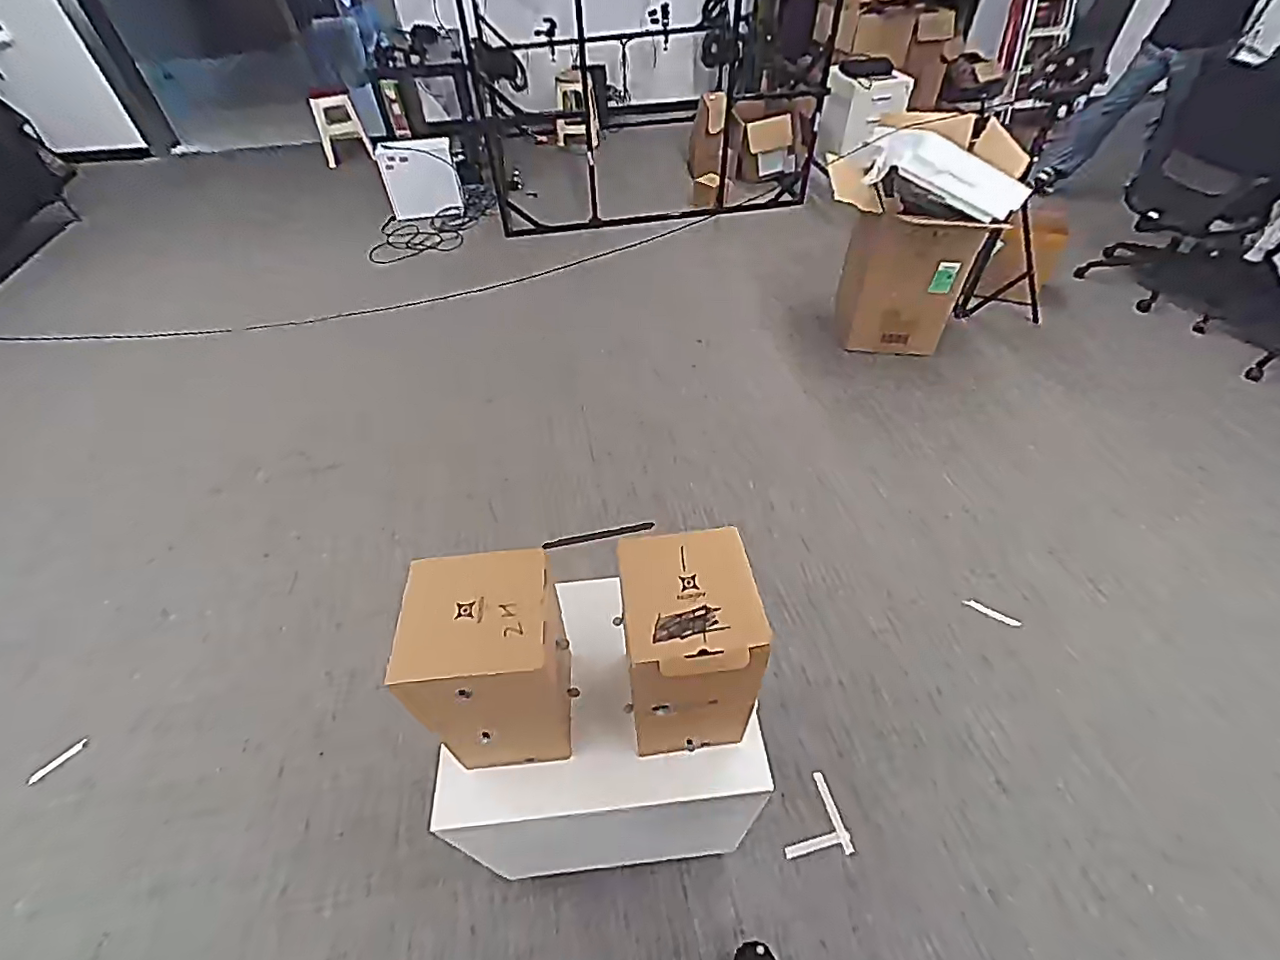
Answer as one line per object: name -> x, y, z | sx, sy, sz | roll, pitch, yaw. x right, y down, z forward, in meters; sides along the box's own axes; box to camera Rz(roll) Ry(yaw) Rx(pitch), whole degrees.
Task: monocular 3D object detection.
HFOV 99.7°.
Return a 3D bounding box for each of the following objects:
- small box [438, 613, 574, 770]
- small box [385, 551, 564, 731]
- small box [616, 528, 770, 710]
small box -> -0.194, 0.321, 0.830 | 0.168, 0.176, 0.179 | -5, 47, -2
small box -> -0.198, 0.213, 0.705 | 0.179, 0.176, 0.168 | -5, 49, -3
small box -> 0.062, 0.190, 0.719 | 0.168, 0.176, 0.179 | -6, 47, -4
